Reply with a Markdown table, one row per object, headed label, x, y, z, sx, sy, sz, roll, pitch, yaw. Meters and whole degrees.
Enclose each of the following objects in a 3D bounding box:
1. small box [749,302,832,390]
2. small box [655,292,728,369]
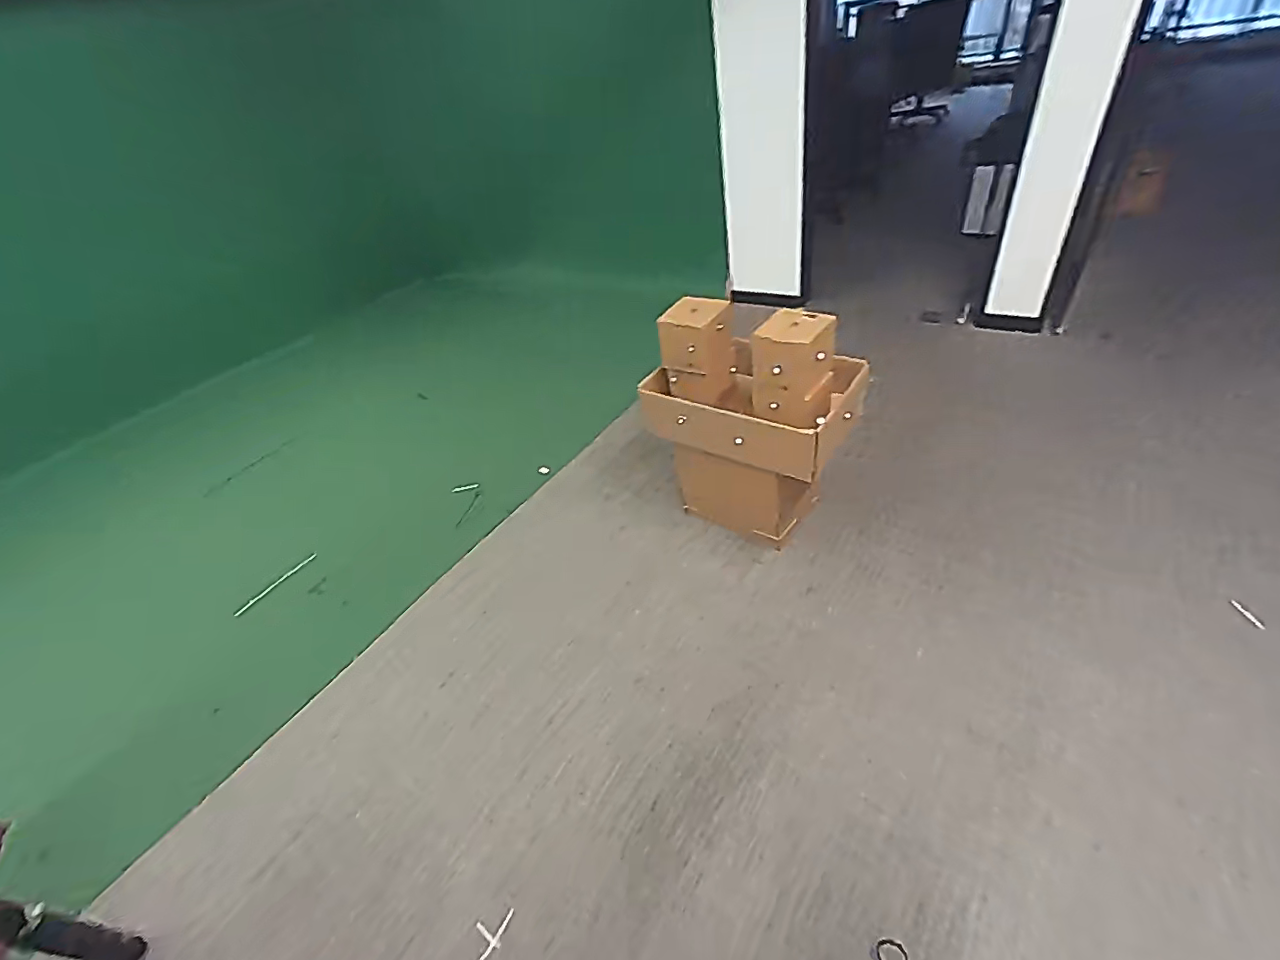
| label | x | y | z | sx | sy | sz | roll | pitch | yaw |
| --- | --- | --- | --- | --- | --- | --- | --- | --- | --- |
| small box | 0.427 | -0.376 | 1.527 | 0.168 | 0.176 | 0.179 | 23 | 53 | 33 |
| small box | 0.170 | -0.471 | 1.702 | 0.168 | 0.176 | 0.179 | 17 | 49 | 29 |
